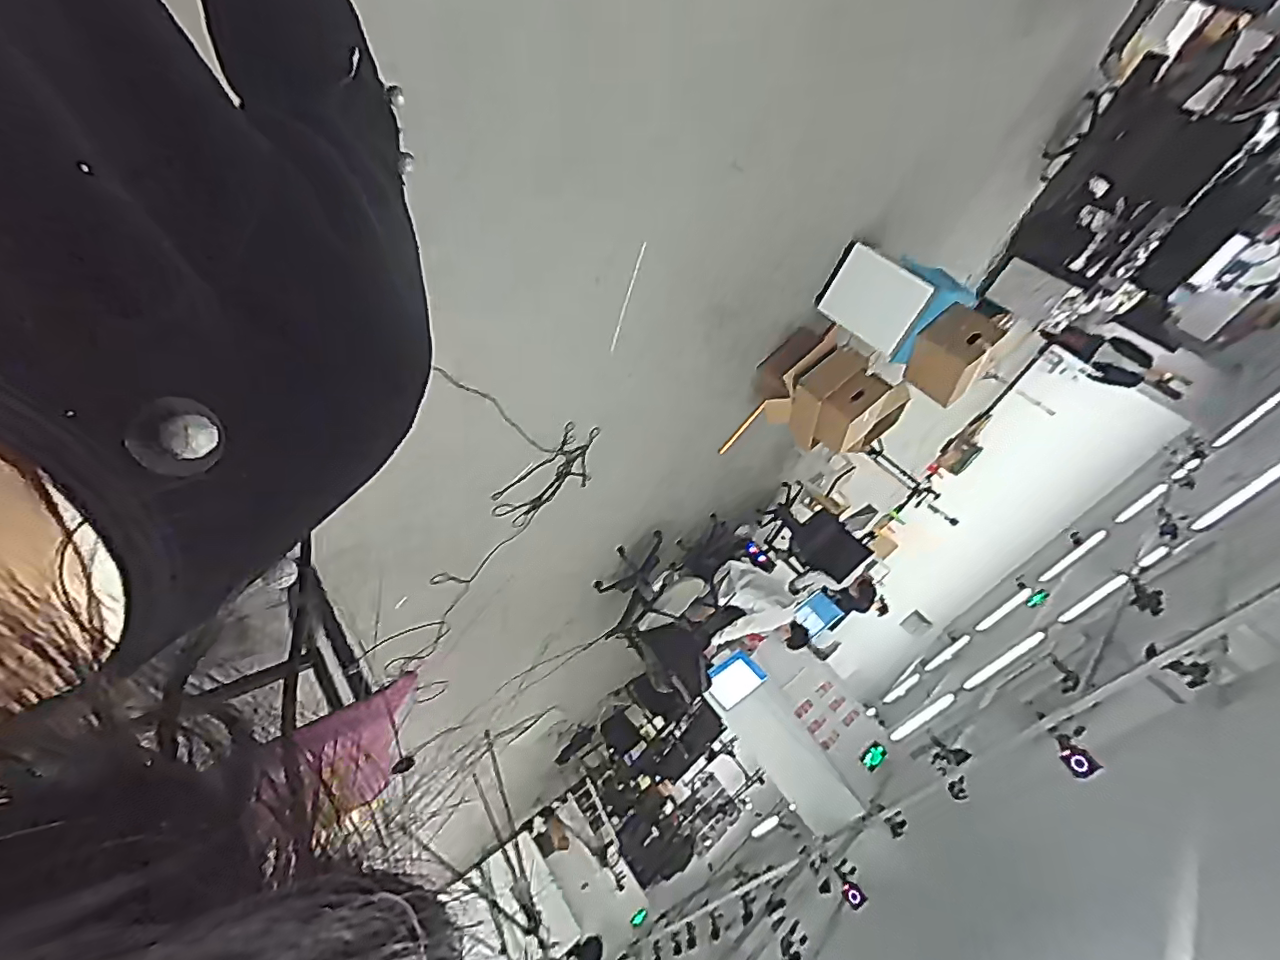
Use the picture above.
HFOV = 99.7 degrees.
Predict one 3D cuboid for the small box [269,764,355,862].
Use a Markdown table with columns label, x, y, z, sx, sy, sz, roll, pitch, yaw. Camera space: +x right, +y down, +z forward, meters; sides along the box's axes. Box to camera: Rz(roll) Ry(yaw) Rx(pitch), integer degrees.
| label | x | y | z | sx | sy | sz | roll | pitch | yaw |
| --- | --- | --- | --- | --- | --- | --- | --- | --- | --- |
| small box | -0.995 | 1.006 | 1.646 | 0.179 | 0.176 | 0.168 | -20 | 145 | -37 |
